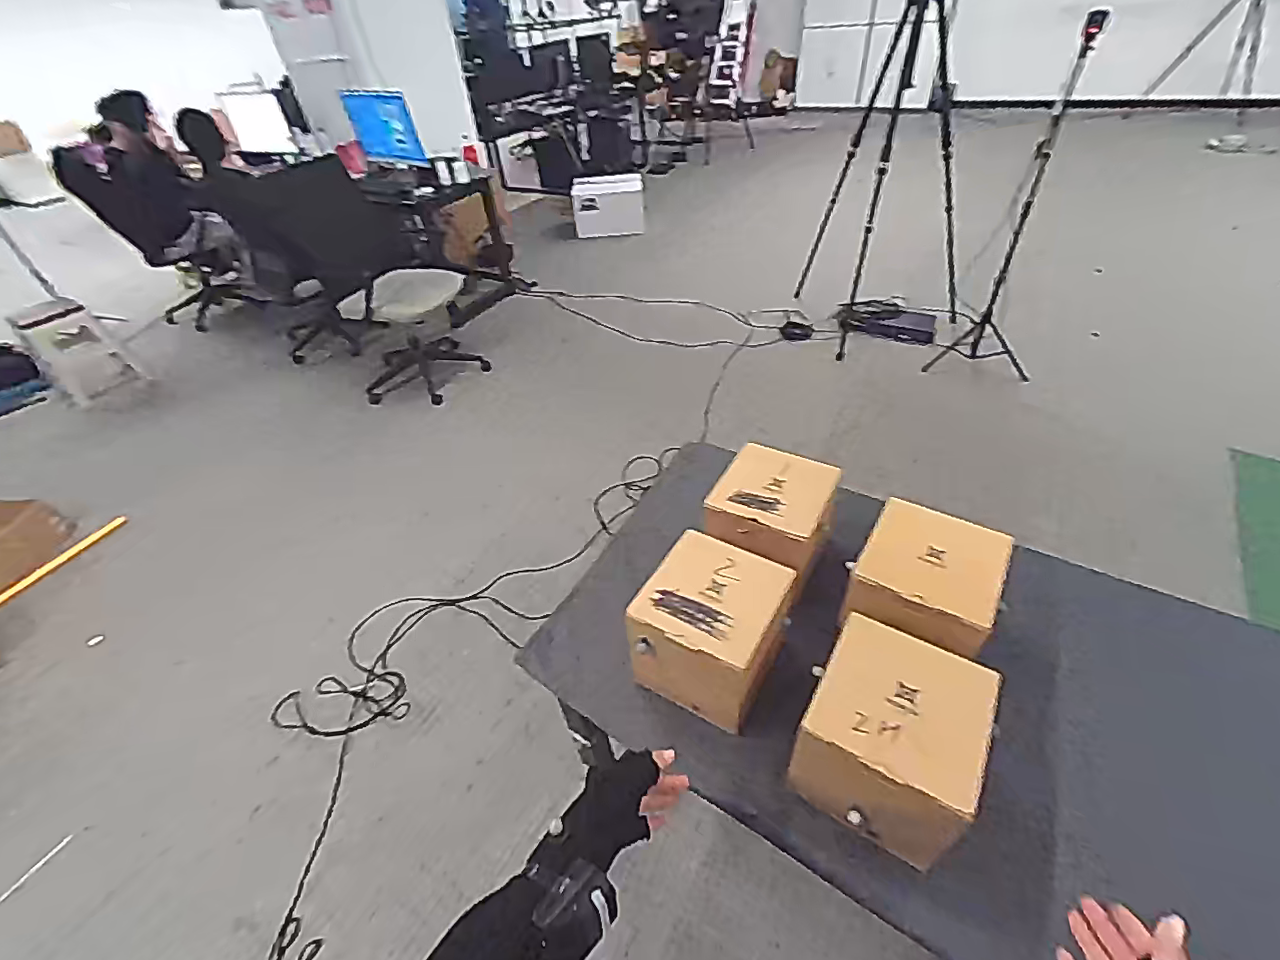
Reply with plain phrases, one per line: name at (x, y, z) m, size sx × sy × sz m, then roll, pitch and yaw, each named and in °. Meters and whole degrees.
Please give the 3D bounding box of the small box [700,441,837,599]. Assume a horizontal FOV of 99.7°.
small box at (0.213, 0.067, 0.908) m, size 0.168 × 0.176 × 0.179 m, roll 20°, pitch 47°, yaw 25°

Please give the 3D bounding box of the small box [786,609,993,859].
small box at (0.286, 0.296, 0.642) m, size 0.168 × 0.176 × 0.179 m, roll 21°, pitch 46°, yaw 27°

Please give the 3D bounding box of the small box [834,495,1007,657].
small box at (0.399, 0.159, 0.788) m, size 0.168 × 0.176 × 0.179 m, roll 22°, pitch 50°, yaw 27°
